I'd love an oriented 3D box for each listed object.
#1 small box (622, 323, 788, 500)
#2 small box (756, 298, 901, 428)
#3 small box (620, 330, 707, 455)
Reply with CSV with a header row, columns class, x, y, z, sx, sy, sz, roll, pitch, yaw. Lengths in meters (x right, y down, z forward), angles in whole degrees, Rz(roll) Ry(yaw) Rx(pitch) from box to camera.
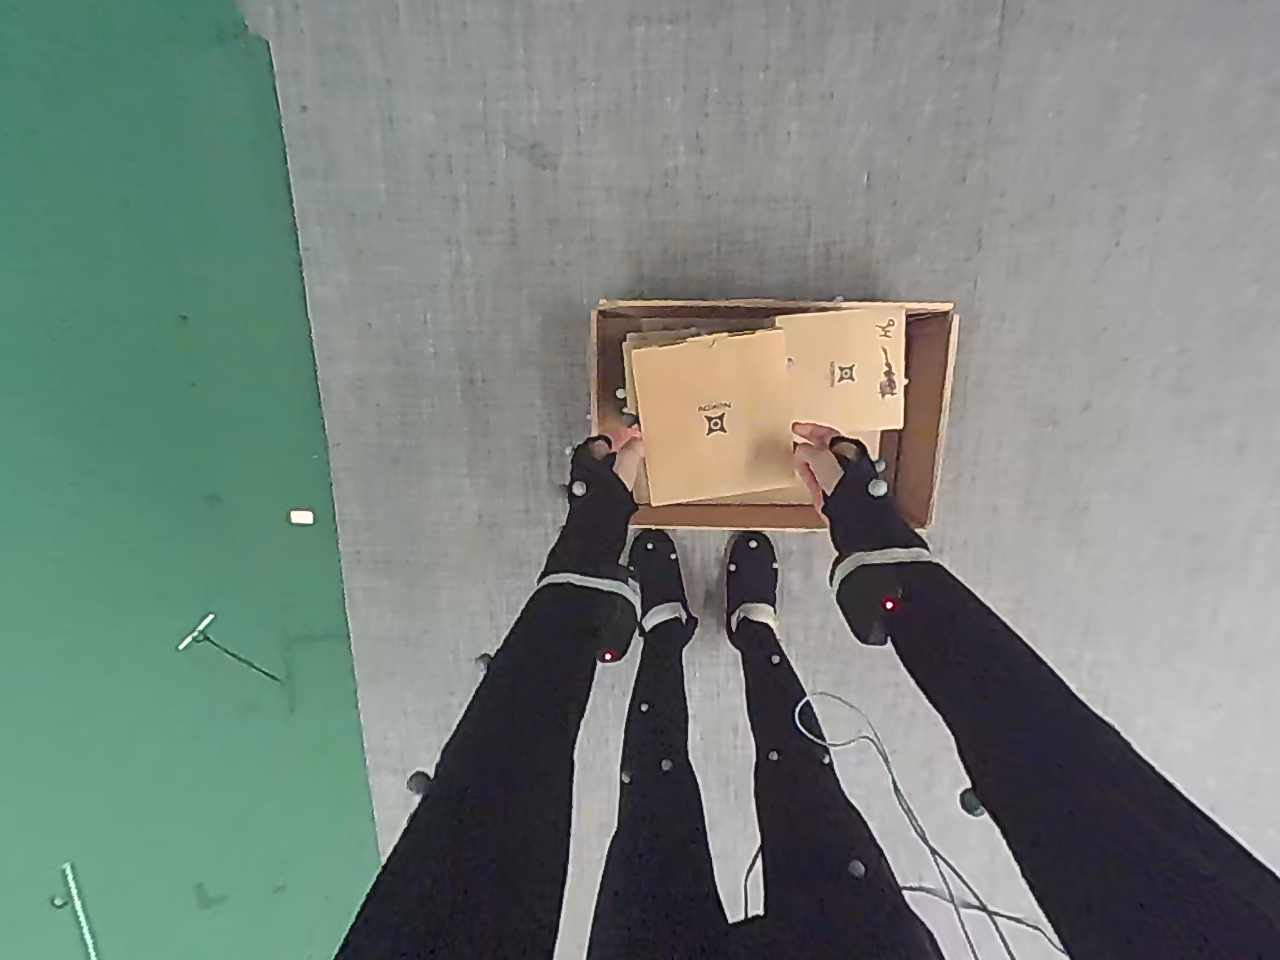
class,x,y,z,sx,sy,sz,roll,pitch,yaw
small box,0.074,-0.089,0.659,0.168,0.176,0.179,-8,103,2
small box,0.266,-0.171,0.805,0.179,0.176,0.168,-4,102,4
small box,0.064,-0.138,0.814,0.179,0.176,0.168,-4,104,2
